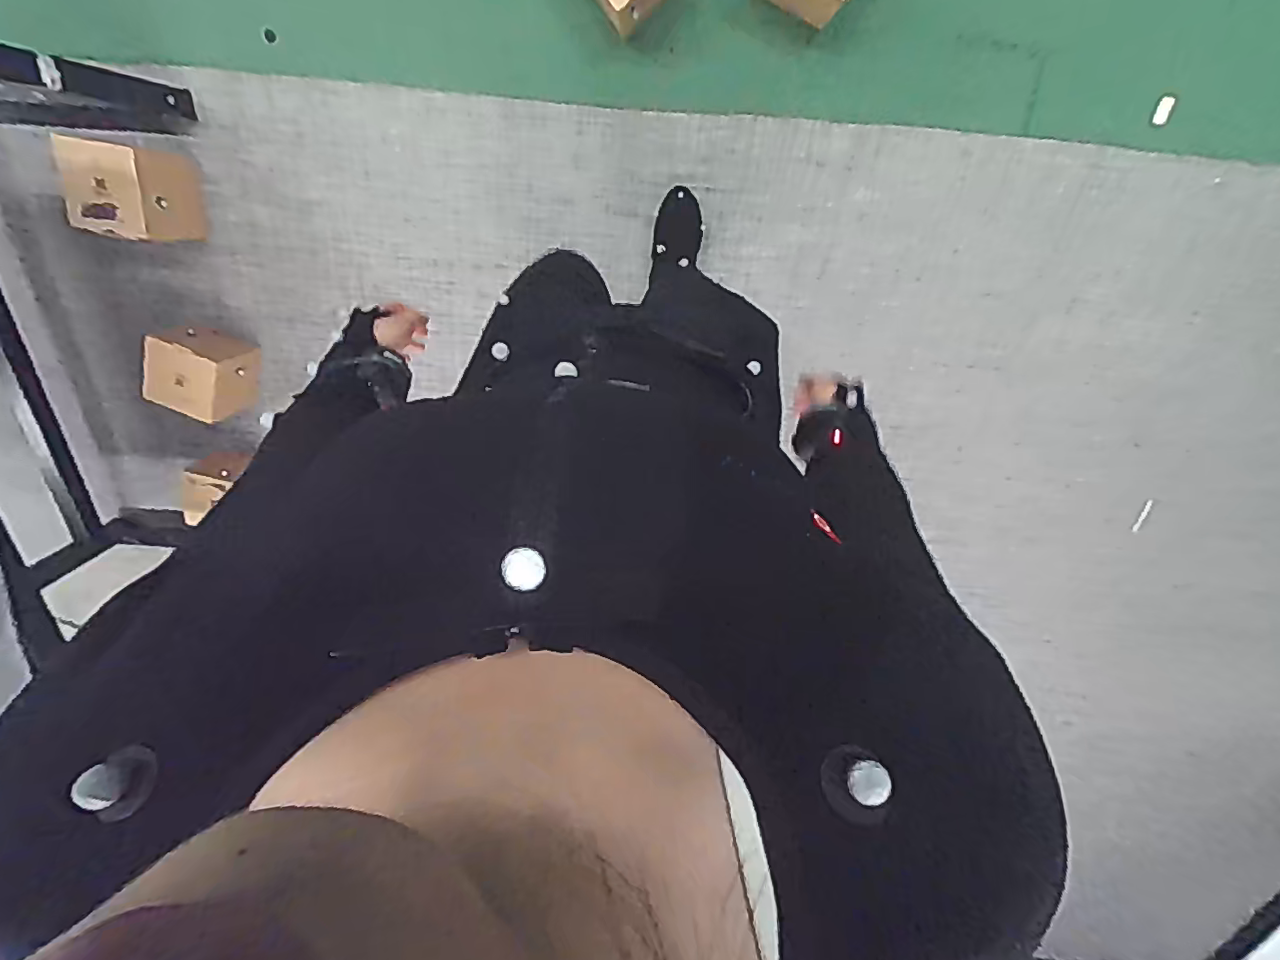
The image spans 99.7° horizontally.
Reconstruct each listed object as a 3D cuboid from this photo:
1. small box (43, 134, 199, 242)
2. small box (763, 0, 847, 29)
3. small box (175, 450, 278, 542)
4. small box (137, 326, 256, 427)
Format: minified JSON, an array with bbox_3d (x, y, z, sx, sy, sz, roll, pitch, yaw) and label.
[{"bbox_3d":[-1.115,-0.631,1.182,0.168,0.176,0.179,9,115,-3],"label":"small box"},{"bbox_3d":[0.315,-0.966,0.977,0.179,0.176,0.168,22,115,-9],"label":"small box"},{"bbox_3d":[-1.149,0.042,1.516,0.168,0.176,0.179,15,116,-6],"label":"small box"},{"bbox_3d":[-1.109,-0.267,1.362,0.168,0.176,0.179,23,116,-9],"label":"small box"}]
